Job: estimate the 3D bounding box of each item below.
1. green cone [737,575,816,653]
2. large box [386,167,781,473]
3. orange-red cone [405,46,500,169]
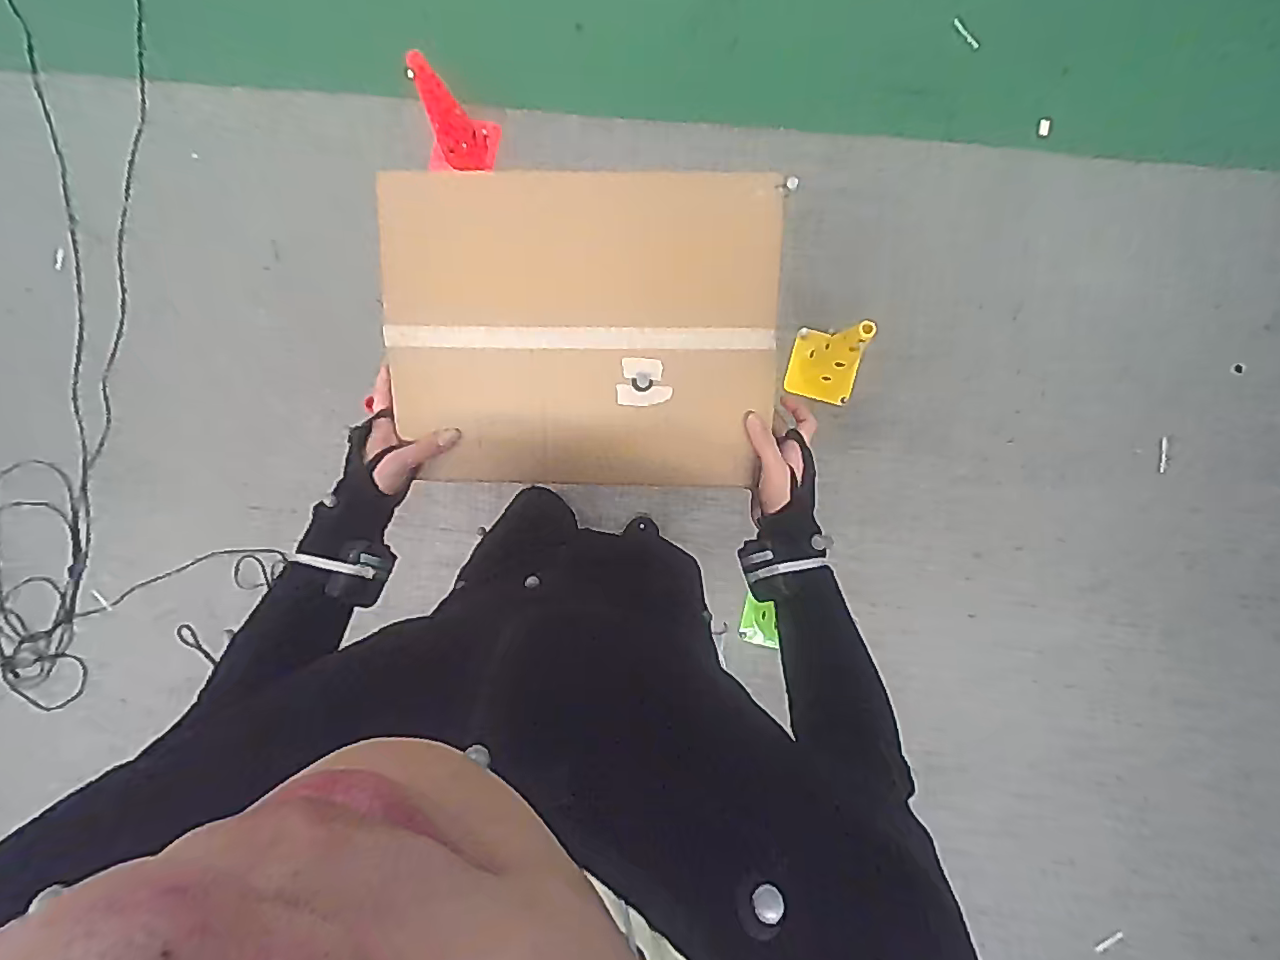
[{"bbox_3d":[0.397,0.387,1.433,0.200,0.368,0.202,12,87,2],"label":"green cone"},{"bbox_3d":[-0.057,-0.189,0.713,0.408,0.320,0.320,1,102,1],"label":"large box"},{"bbox_3d":[-0.557,-1.045,1.509,0.199,0.360,0.198,14,88,4],"label":"orange-red cone"}]
